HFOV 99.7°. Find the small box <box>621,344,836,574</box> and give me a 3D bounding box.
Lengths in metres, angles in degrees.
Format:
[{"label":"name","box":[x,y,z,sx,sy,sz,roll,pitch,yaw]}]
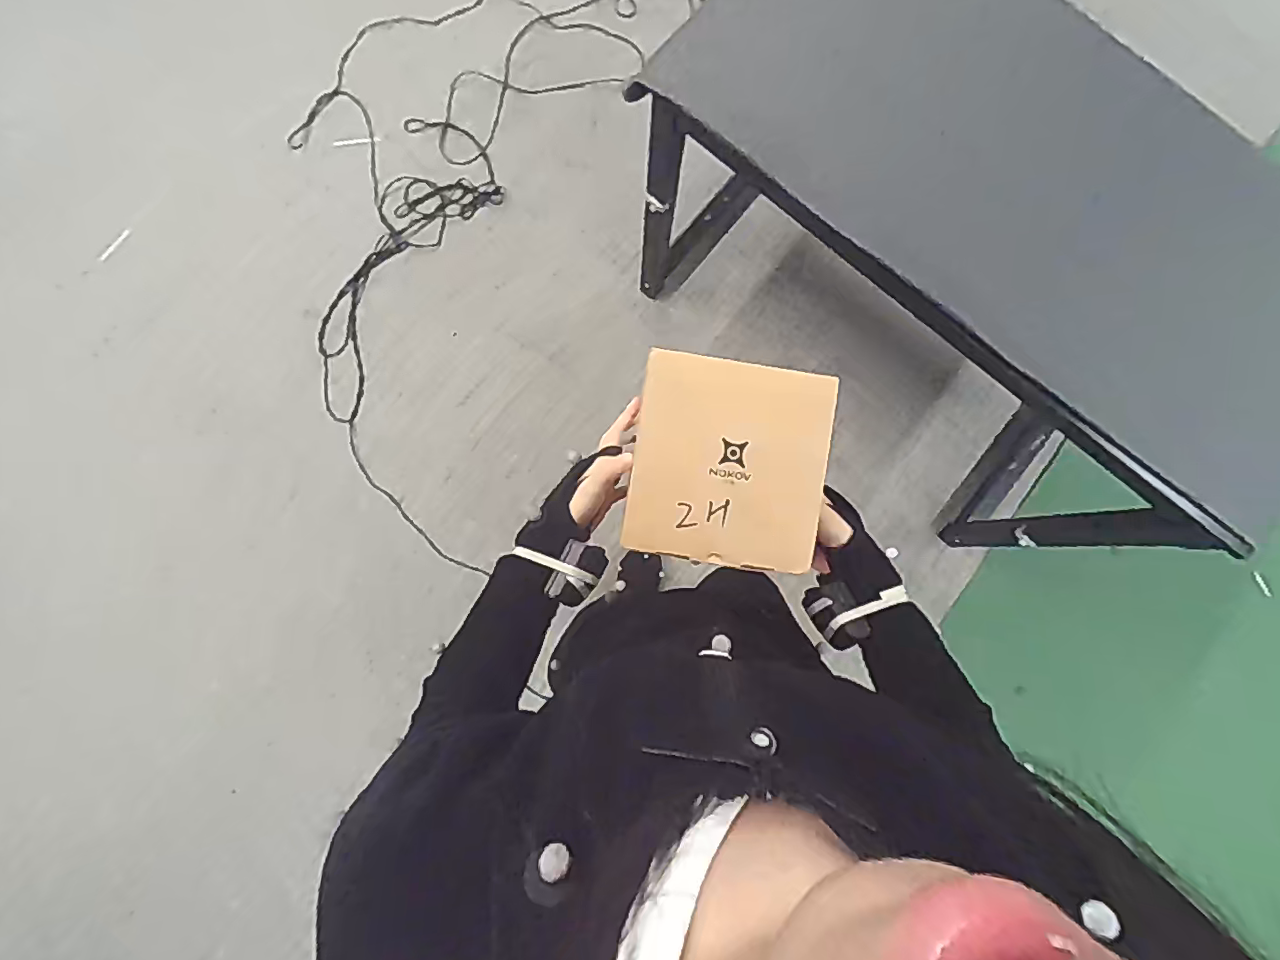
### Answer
[{"label":"small box","box":[0.074,-0.016,0.545,0.168,0.176,0.179,10,88,-2]}]
